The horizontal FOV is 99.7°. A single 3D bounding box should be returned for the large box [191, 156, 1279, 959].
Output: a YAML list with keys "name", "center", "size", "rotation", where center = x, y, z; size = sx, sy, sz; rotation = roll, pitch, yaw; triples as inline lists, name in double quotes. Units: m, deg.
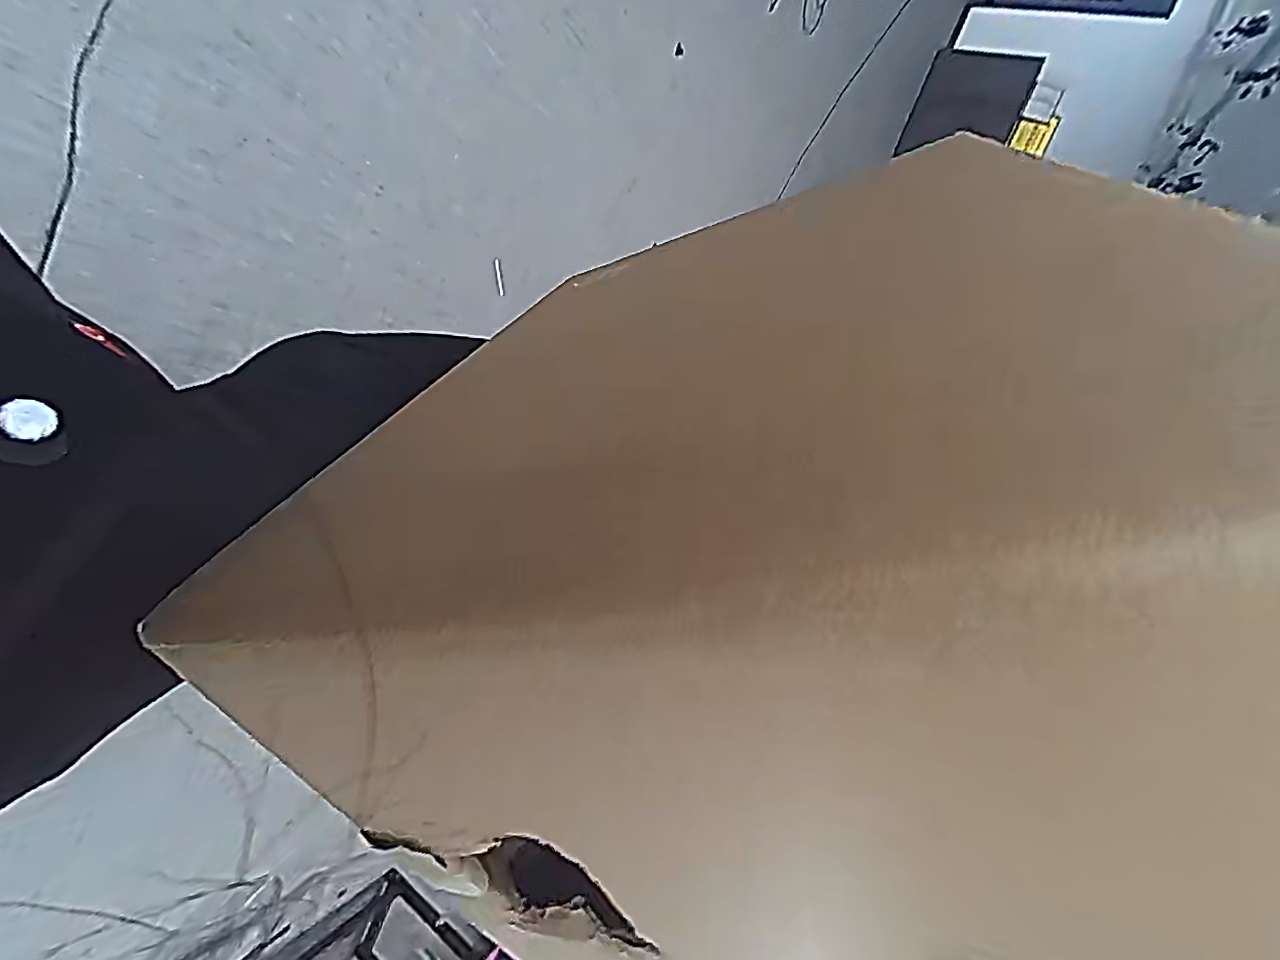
- name: "large box"
  center: [0.081, 0.029, 0.347]
  size: [0.408, 0.320, 0.320]
  rotation: [-66, 140, -51]
